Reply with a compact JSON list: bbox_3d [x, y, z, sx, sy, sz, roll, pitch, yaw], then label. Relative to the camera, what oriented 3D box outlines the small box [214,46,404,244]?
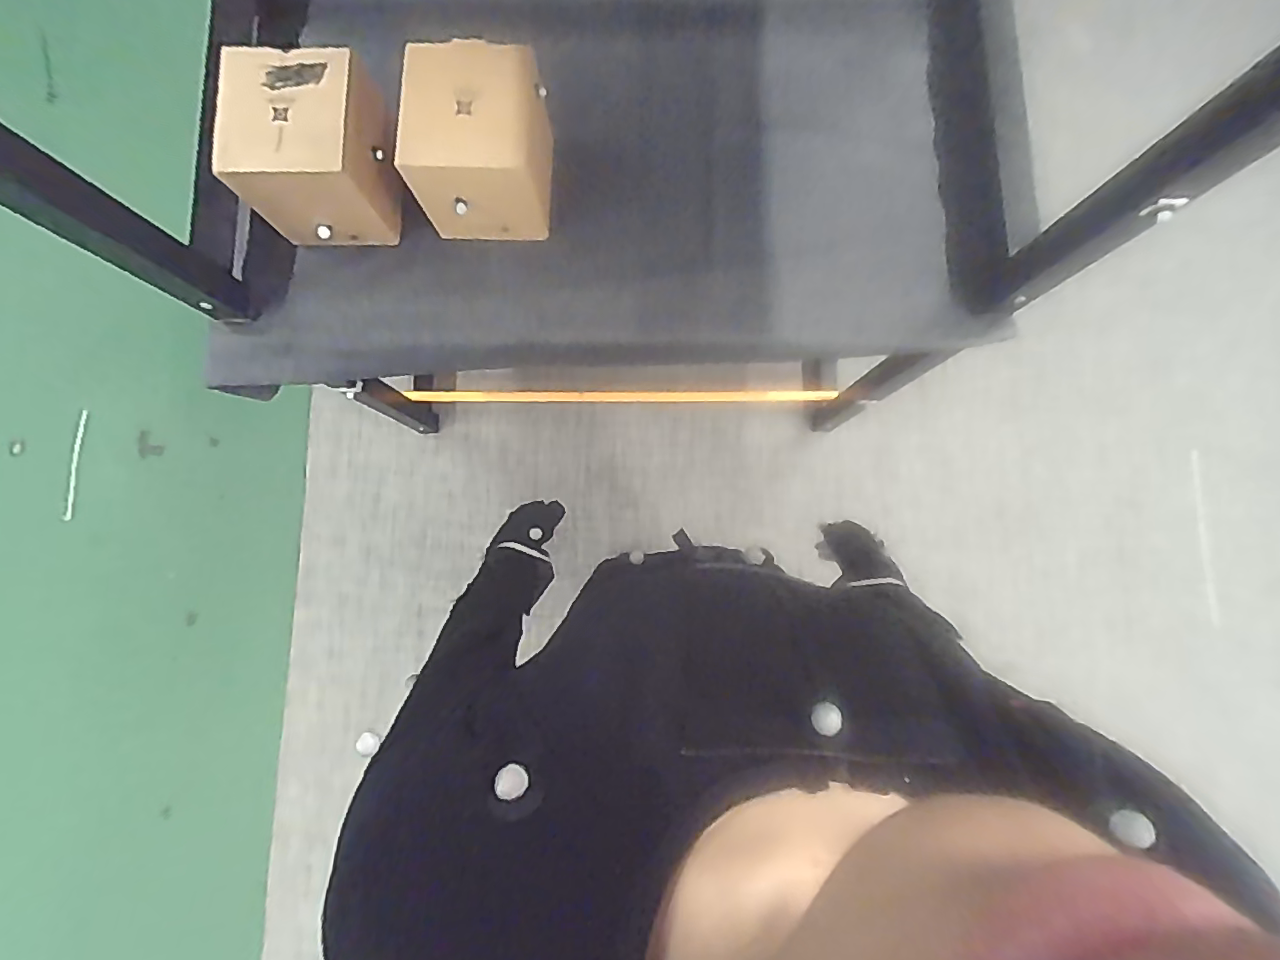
[{"bbox_3d":[-0.450,-0.462,0.765,0.168,0.176,0.179,0,83,0],"label":"small box"}]

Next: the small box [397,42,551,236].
[{"bbox_3d":[-0.223,-0.470,0.769,0.168,0.176,0.179,1,82,0],"label":"small box"}]
